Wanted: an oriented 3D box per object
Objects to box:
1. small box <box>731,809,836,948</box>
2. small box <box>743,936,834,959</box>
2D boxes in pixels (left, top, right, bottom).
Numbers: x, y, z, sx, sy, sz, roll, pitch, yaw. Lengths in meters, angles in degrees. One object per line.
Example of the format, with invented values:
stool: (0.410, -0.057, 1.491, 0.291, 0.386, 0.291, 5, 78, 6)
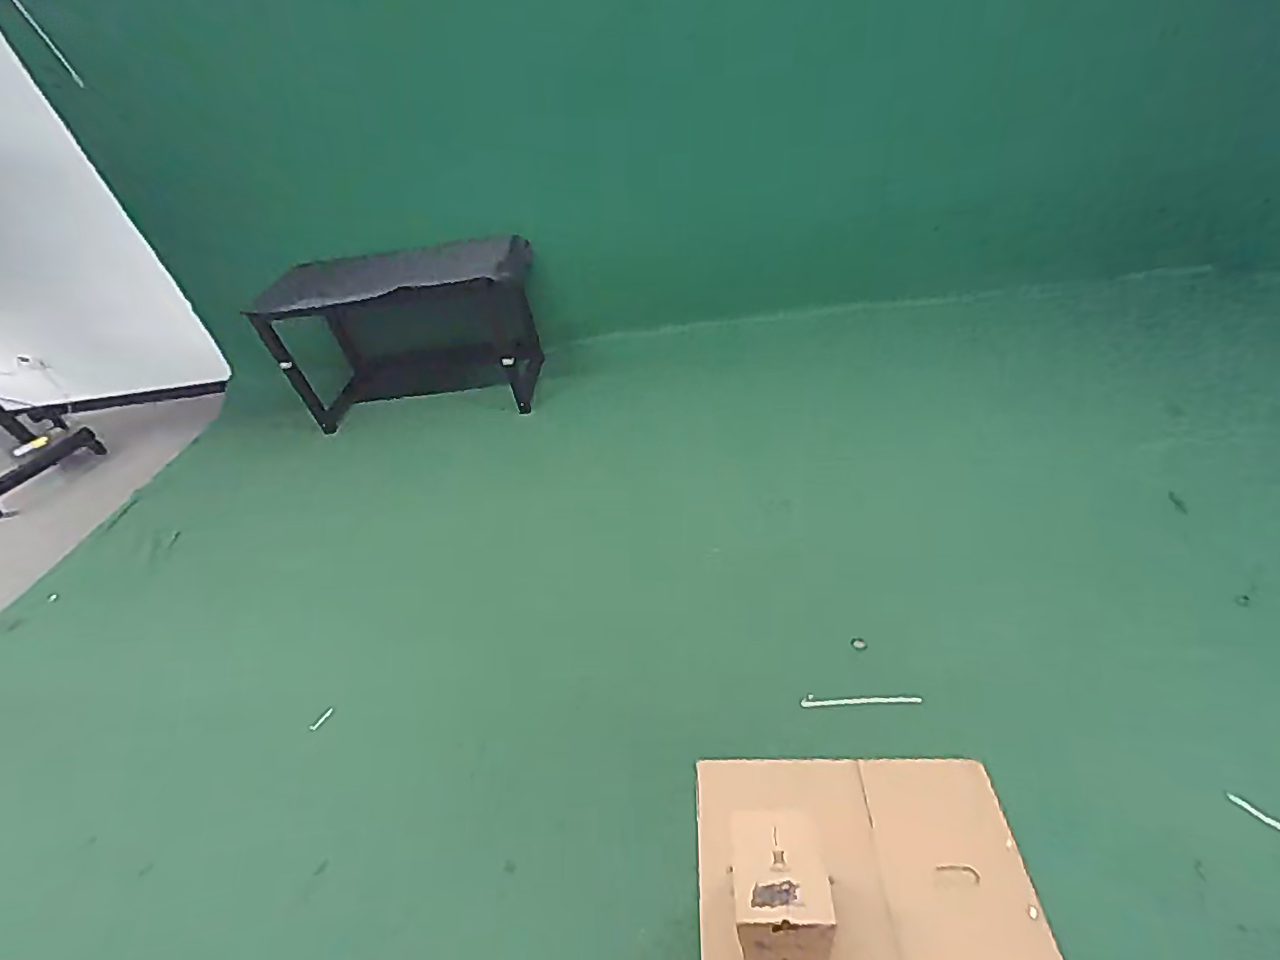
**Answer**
small box: (0.260, 0.737, 0.999, 0.168, 0.176, 0.179, -5, 39, 9)
small box: (0.288, 0.862, 1.102, 0.168, 0.176, 0.179, -7, 40, 8)
